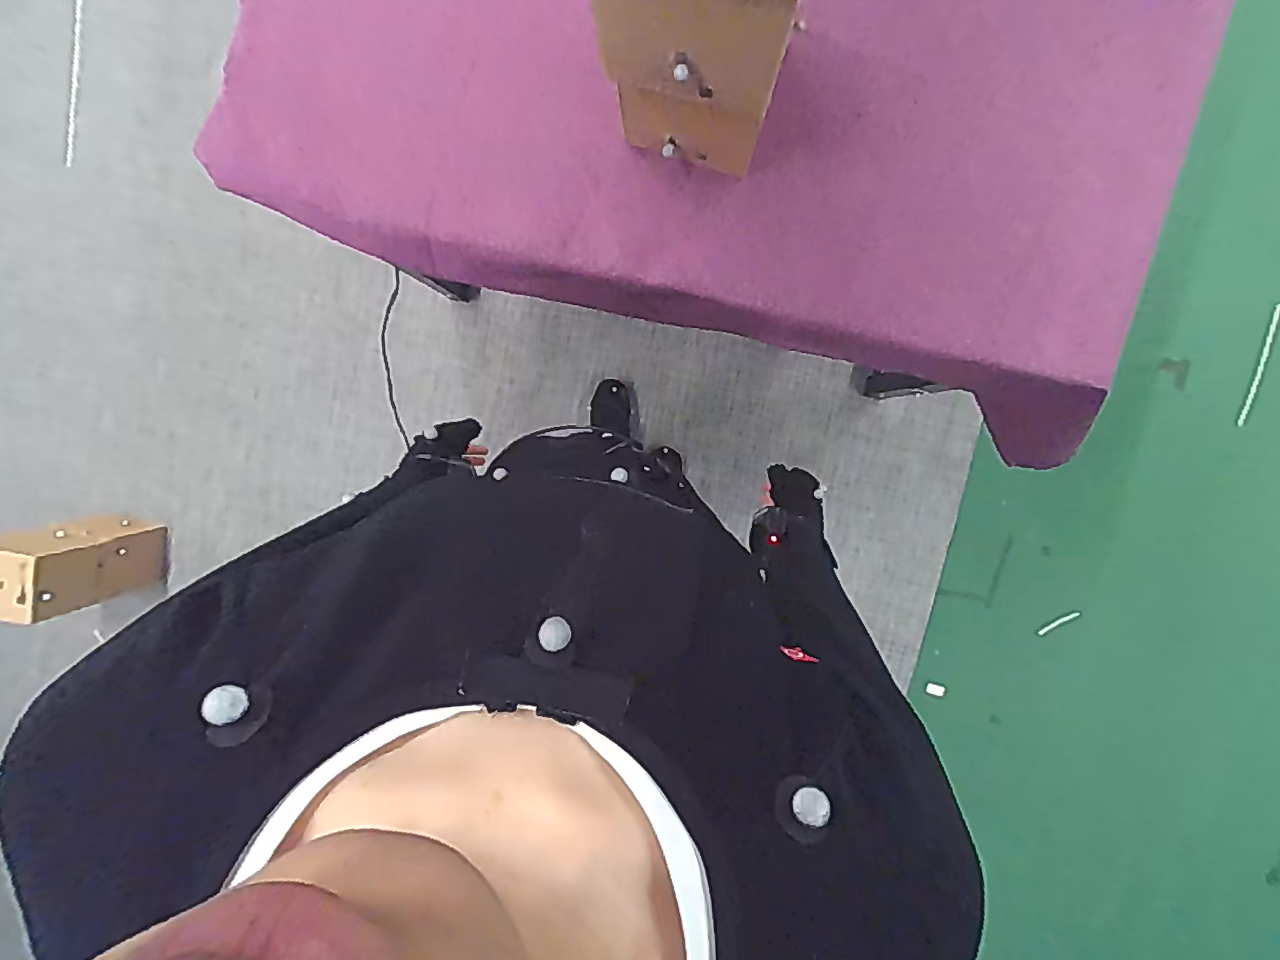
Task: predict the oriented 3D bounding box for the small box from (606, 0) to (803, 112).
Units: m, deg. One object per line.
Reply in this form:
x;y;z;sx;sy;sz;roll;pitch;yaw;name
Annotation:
0.066;-0.460;0.451;0.168;0.176;0.179;15;96;2;small box

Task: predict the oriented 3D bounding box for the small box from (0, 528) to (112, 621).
-1.448;0.220;1.304;0.179;0.176;0.168;12;96;2;small box

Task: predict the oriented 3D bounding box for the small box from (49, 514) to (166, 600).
-1.442;0.203;1.468;0.168;0.176;0.179;11;96;1;small box

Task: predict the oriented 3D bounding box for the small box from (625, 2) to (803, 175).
0.081;-0.489;0.612;0.168;0.176;0.179;17;96;1;small box
